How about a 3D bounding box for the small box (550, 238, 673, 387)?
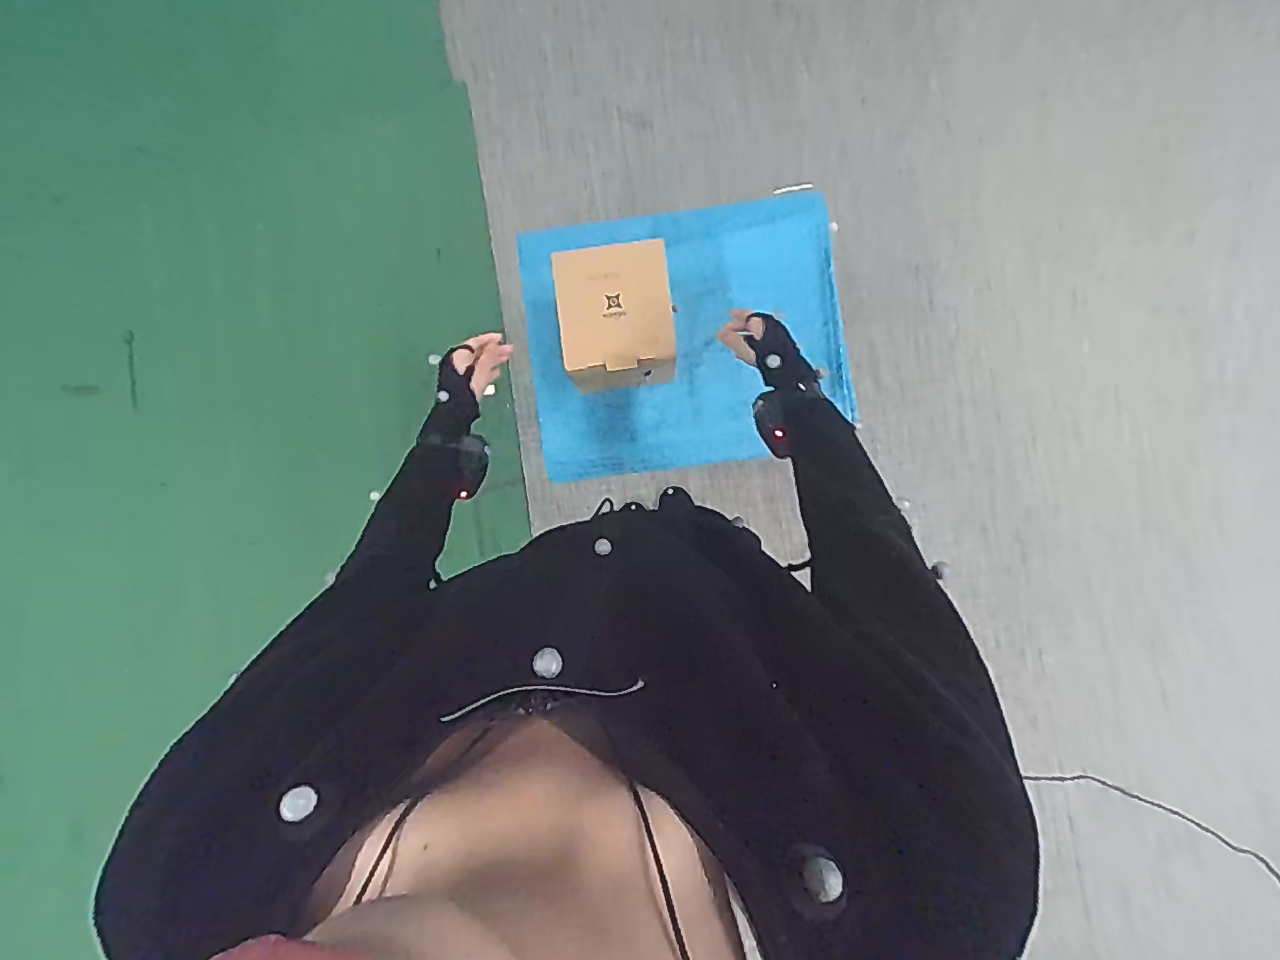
[{"bbox_3d":[-0.037,-0.248,0.844,0.168,0.176,0.179,-6,88,1],"label":"small box"}]
